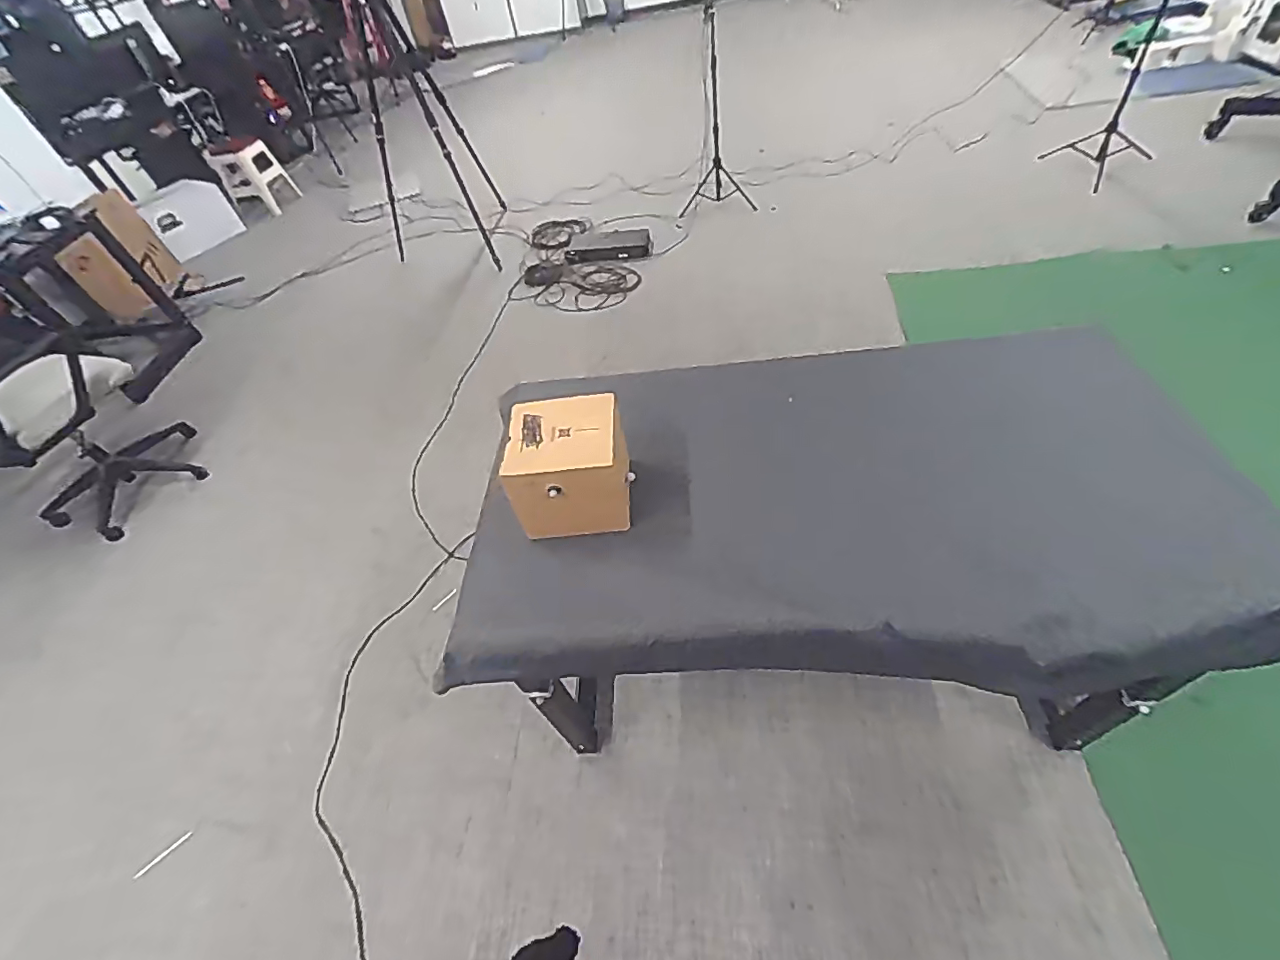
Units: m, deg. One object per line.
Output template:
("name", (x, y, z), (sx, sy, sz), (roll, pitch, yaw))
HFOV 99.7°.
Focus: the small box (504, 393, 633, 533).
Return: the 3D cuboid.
("small box", (-0.111, -0.023, 0.919), (0.179, 0.176, 0.168), (-5, 49, 5))
